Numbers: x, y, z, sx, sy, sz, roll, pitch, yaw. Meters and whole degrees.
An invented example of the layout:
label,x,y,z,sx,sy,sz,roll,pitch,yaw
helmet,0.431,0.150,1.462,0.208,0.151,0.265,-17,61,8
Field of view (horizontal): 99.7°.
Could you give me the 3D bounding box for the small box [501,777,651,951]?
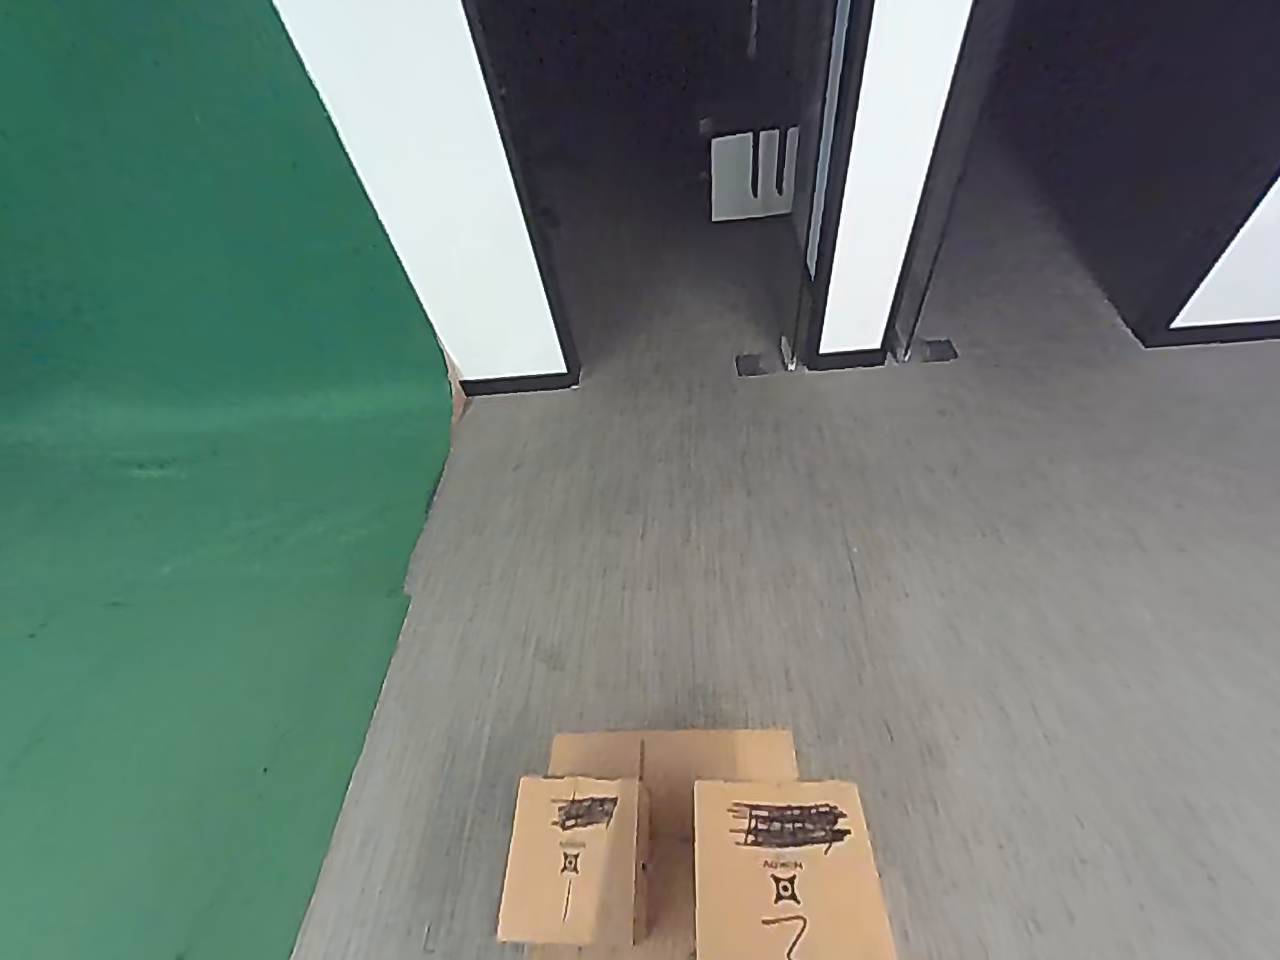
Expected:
label,x,y,z,sx,sy,sz,roll,pitch,yaw
small box,-0.075,0.528,0.752,0.168,0.176,0.179,-2,54,7
